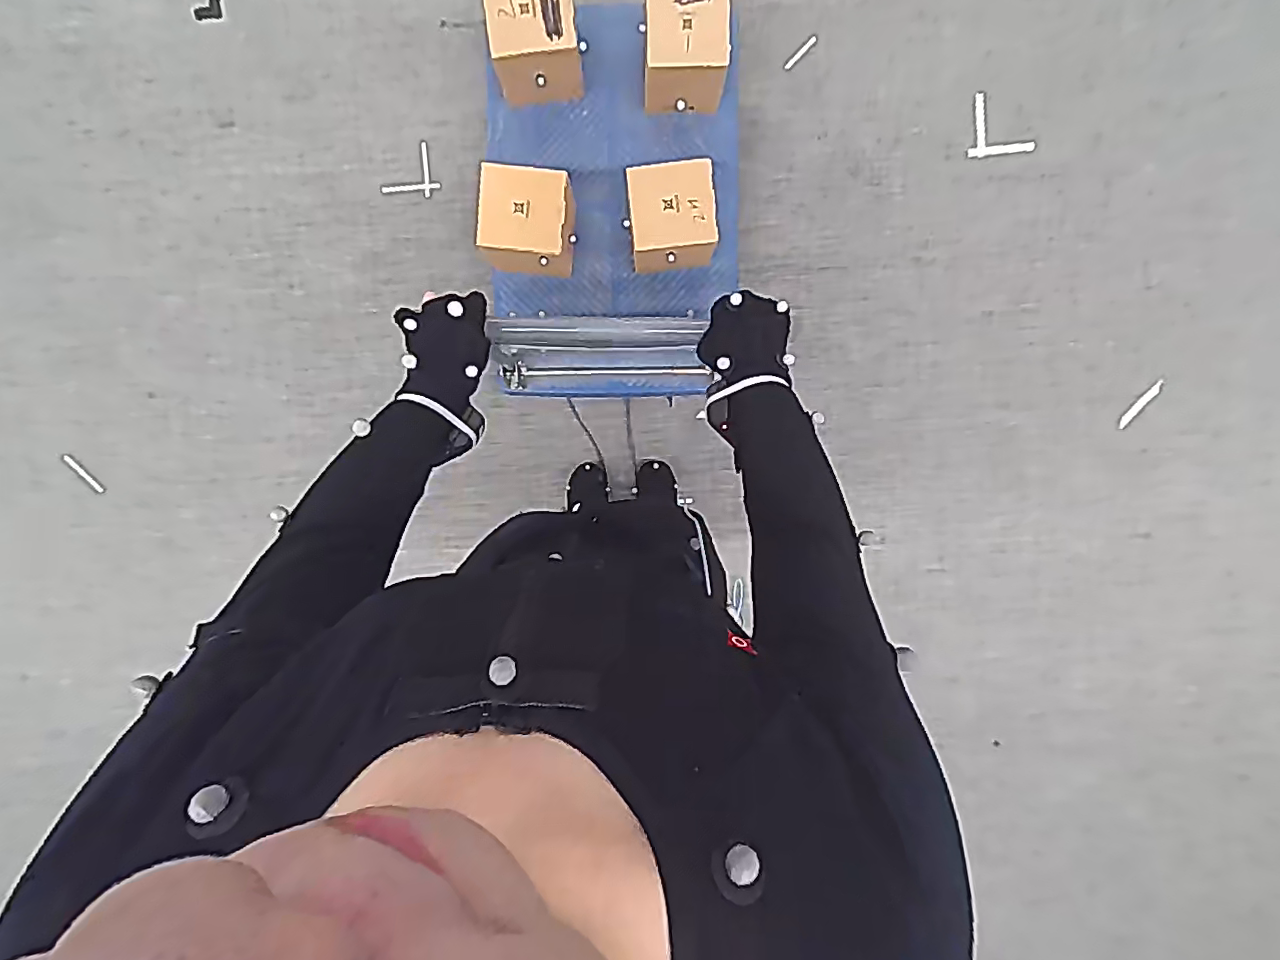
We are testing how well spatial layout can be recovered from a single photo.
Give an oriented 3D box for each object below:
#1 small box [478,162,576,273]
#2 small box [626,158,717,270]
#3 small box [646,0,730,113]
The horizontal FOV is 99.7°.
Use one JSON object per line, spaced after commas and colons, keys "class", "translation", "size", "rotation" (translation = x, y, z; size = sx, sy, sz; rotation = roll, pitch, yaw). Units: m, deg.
{"class": "small box", "translation": [-0.240, -0.565, 1.184], "size": [0.179, 0.176, 0.168], "rotation": [5, 95, -2]}
{"class": "small box", "translation": [0.067, -0.571, 1.182], "size": [0.179, 0.176, 0.168], "rotation": [-6, 96, 1]}
{"class": "small box", "translation": [0.096, -0.920, 1.148], "size": [0.168, 0.176, 0.179], "rotation": [-1, 96, 0]}
